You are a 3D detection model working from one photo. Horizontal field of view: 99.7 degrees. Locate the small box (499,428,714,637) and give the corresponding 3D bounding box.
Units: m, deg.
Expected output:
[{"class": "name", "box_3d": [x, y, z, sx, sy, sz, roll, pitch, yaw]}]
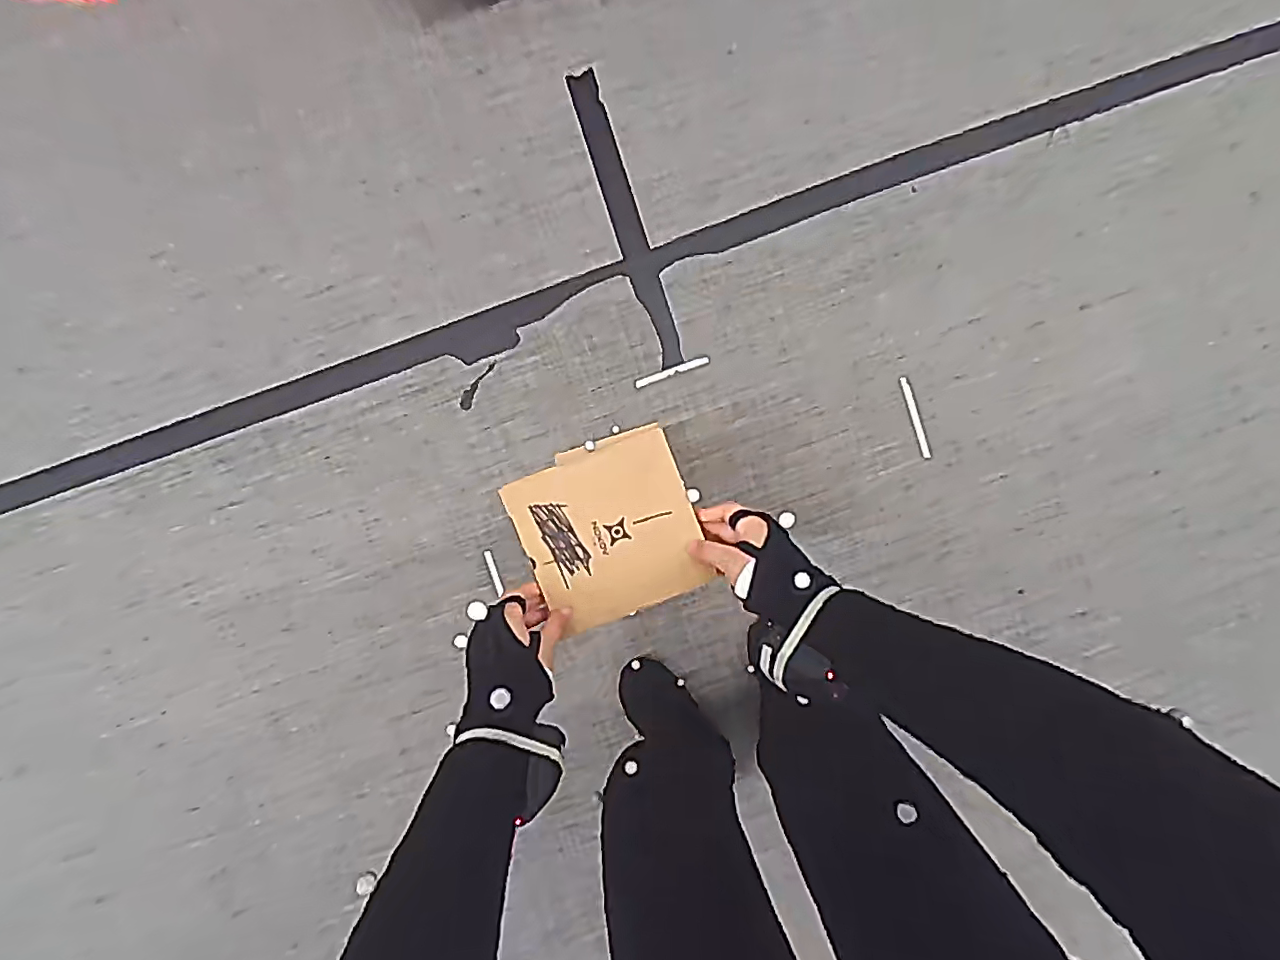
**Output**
[{"class": "small box", "box_3d": [-0.031, 0.051, 0.615, 0.179, 0.176, 0.168, -21, 92, 1]}]
